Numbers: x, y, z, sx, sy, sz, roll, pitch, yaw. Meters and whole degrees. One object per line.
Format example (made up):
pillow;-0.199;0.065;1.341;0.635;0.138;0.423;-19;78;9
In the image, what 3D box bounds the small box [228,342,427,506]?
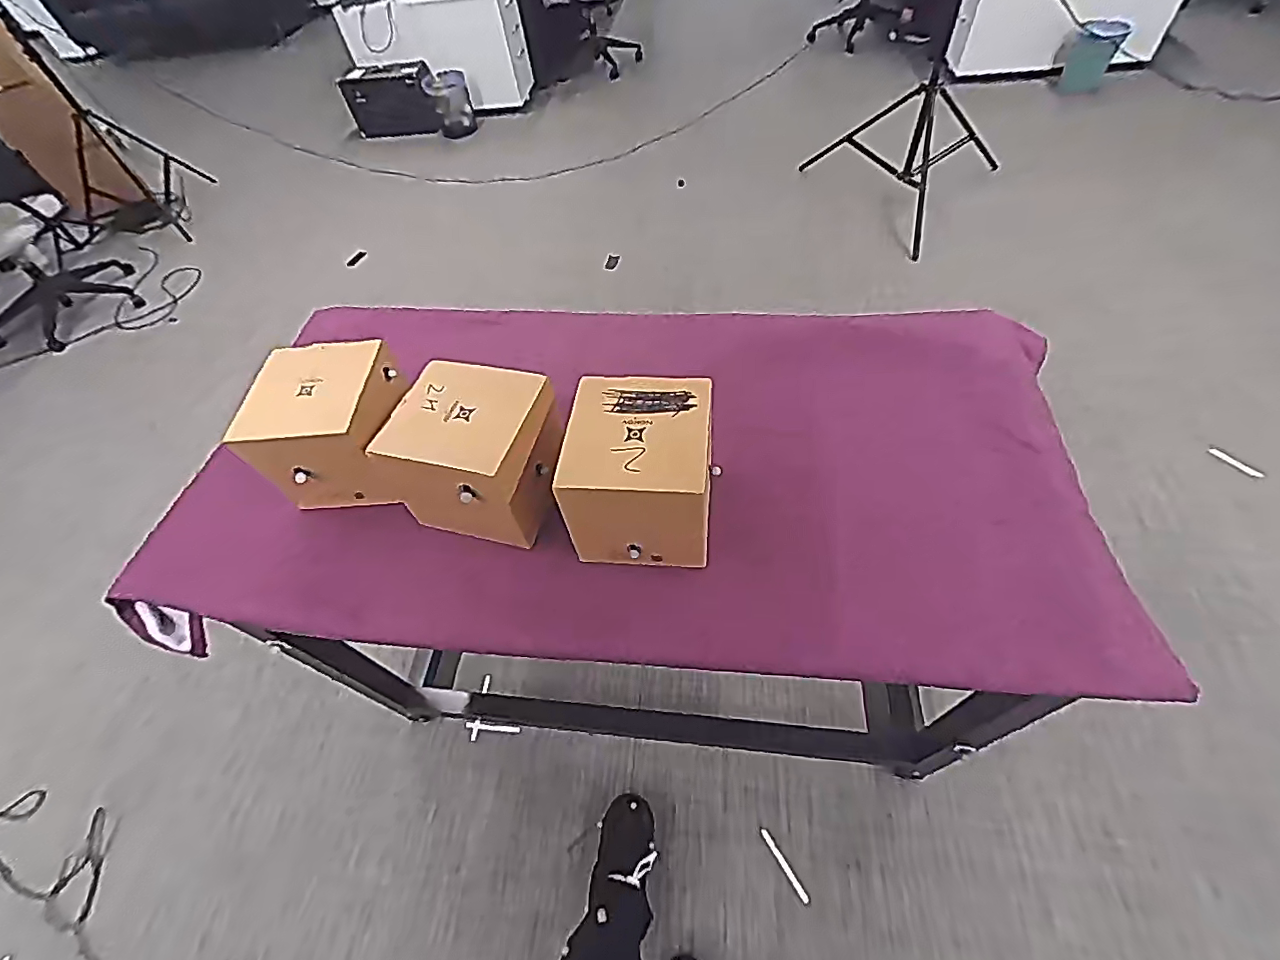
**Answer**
small box;-0.435;-0.073;0.790;0.168;0.176;0.179;-5;54;4
